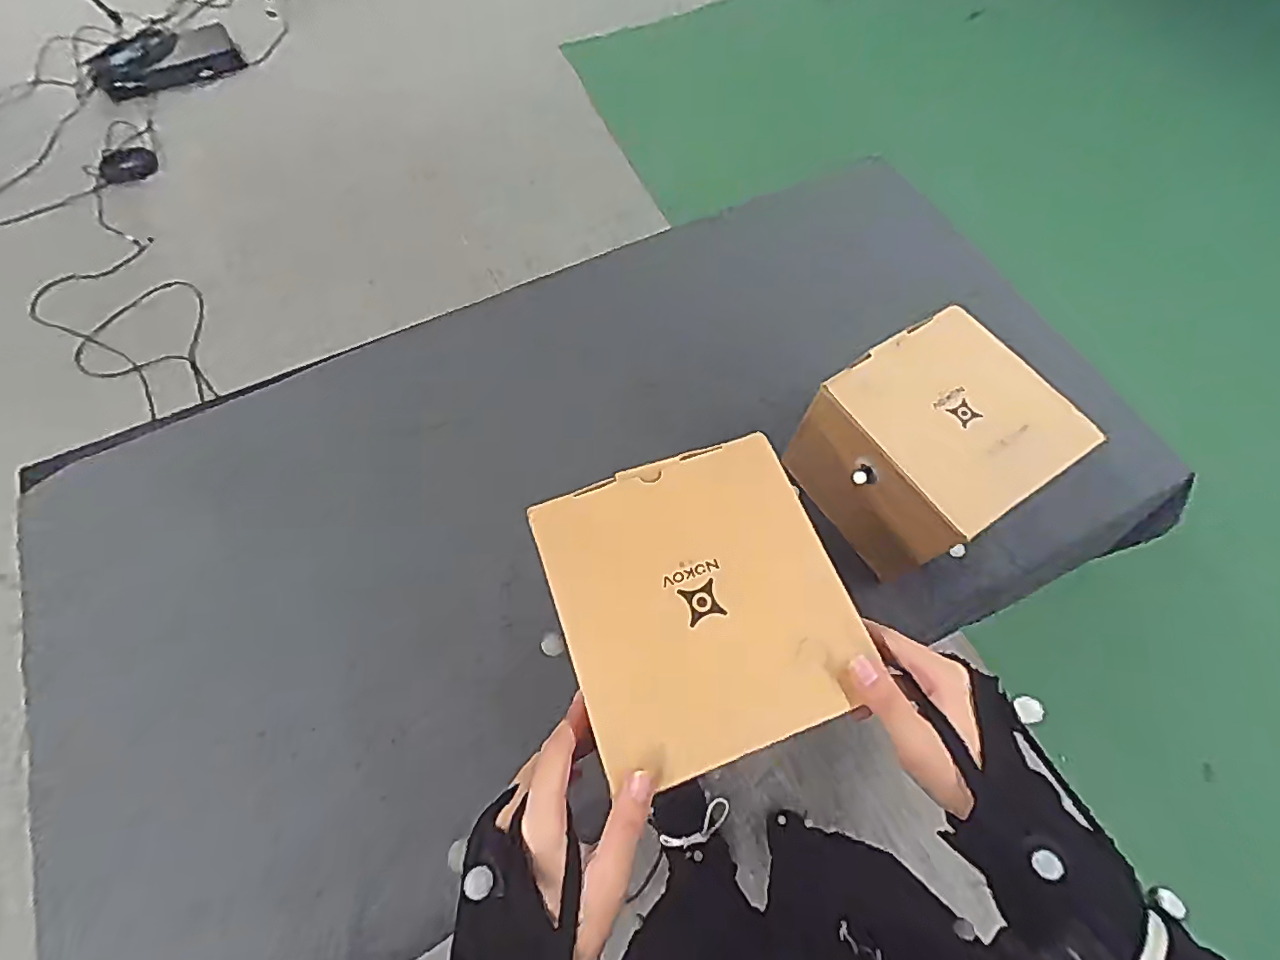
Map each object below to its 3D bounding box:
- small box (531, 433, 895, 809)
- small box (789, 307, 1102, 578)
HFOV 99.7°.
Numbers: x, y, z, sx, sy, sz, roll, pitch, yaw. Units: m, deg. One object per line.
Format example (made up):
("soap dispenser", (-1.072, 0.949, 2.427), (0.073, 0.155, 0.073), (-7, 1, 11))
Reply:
("small box", (0.037, 0.098, 0.387), (0.168, 0.176, 0.179), (-18, 68, -9))
("small box", (0.276, -0.028, 0.539), (0.168, 0.176, 0.179), (-32, 70, -11))
